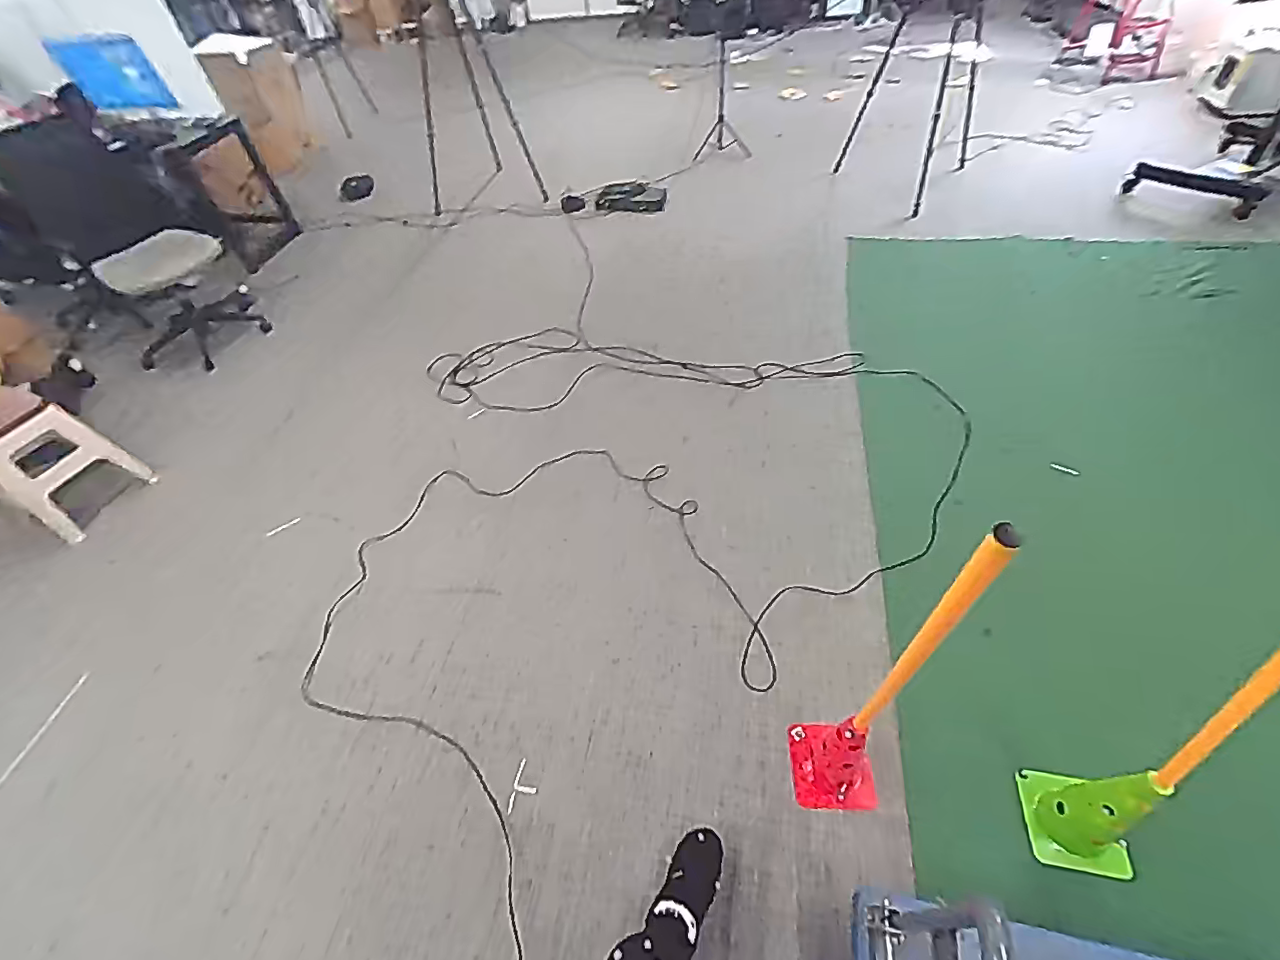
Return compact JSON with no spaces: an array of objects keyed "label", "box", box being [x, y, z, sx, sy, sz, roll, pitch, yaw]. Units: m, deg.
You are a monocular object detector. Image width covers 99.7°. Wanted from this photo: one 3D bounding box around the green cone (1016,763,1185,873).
[{"label":"green cone","box":[1.004,0.678,1.145,0.202,0.368,0.200,6,50,10]}]
